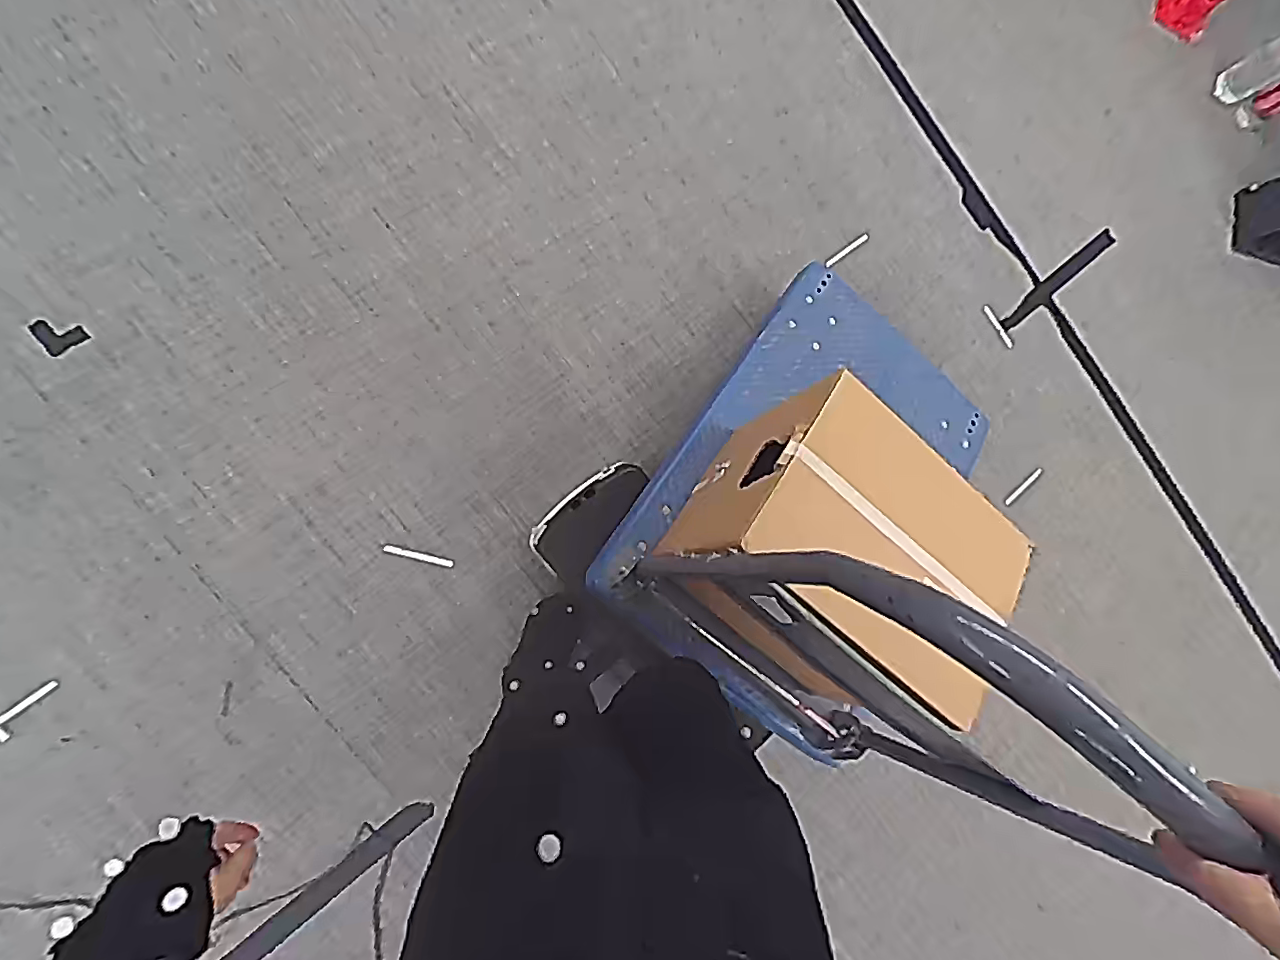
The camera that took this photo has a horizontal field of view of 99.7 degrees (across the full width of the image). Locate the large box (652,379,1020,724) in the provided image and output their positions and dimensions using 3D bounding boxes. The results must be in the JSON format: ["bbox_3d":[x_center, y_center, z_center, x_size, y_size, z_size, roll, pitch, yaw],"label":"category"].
[{"bbox_3d":[0.297,0.118,0.872,0.408,0.320,0.320,40,68,-9],"label":"large box"}]
